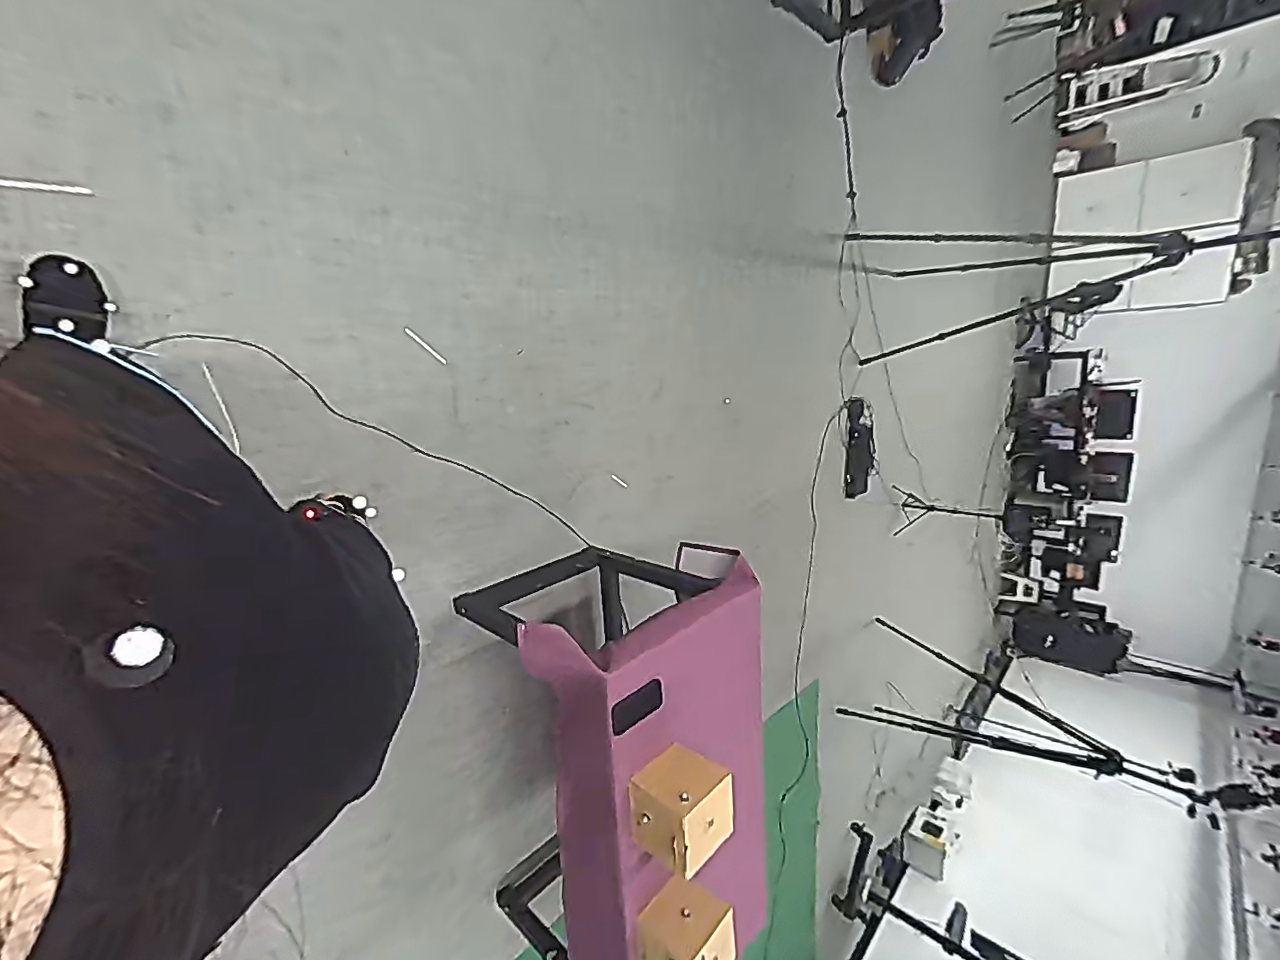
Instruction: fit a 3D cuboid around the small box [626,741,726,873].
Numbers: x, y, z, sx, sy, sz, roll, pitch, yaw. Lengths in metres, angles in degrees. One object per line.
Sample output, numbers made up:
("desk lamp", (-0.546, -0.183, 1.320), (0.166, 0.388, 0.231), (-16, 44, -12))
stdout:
("small box", (0.085, 0.757, 1.278), (0.179, 0.176, 0.168), (-15, 108, -44))
